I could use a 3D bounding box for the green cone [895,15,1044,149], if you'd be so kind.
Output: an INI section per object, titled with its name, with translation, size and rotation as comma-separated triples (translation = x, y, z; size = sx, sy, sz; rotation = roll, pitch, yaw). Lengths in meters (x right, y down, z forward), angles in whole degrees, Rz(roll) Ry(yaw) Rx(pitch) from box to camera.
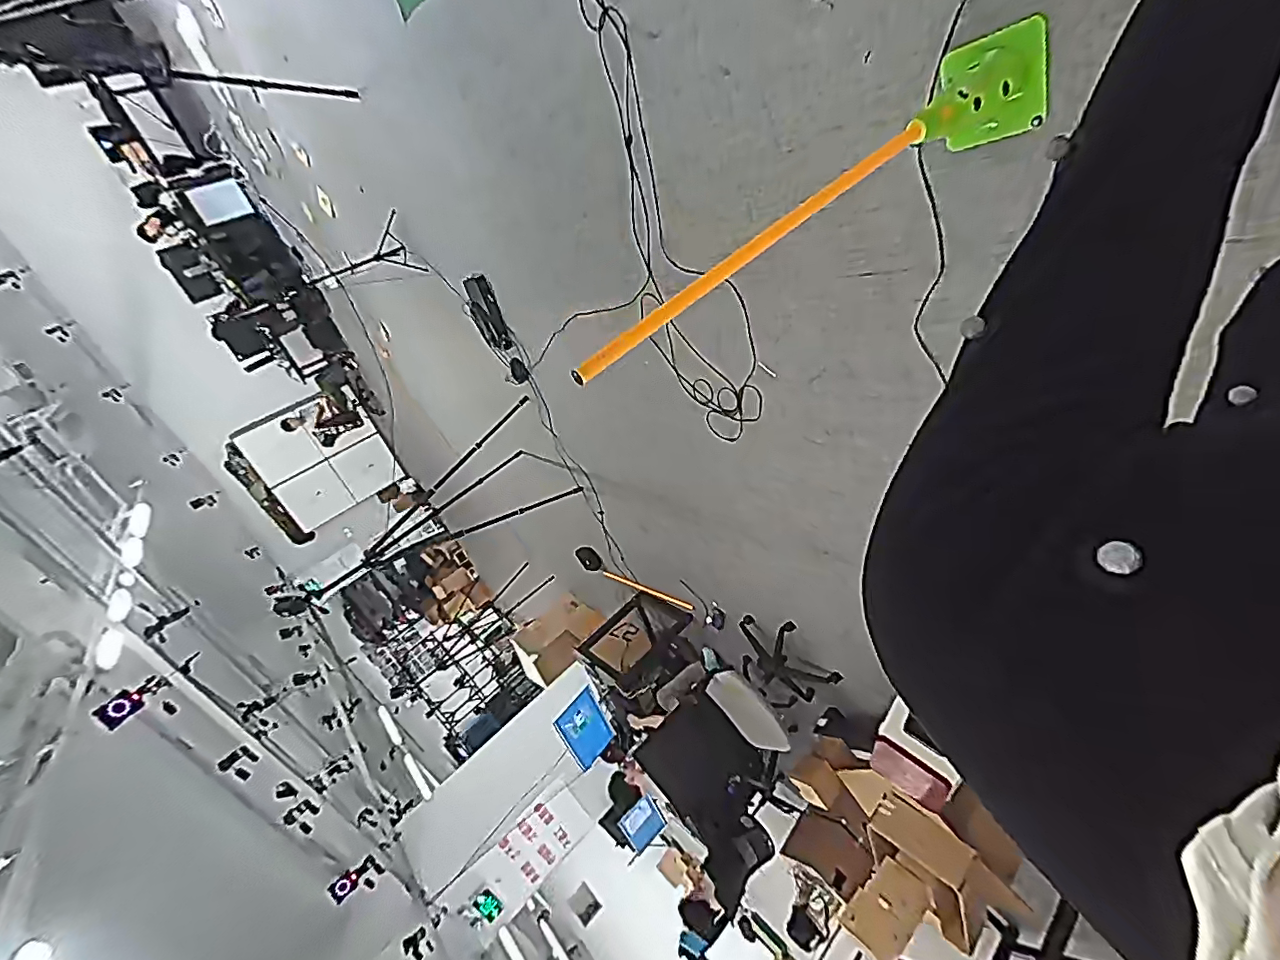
[green cone]
translation = 0.634, -0.759, 1.098
size = 0.202, 0.368, 0.200
rotation = 15, 135, 52
